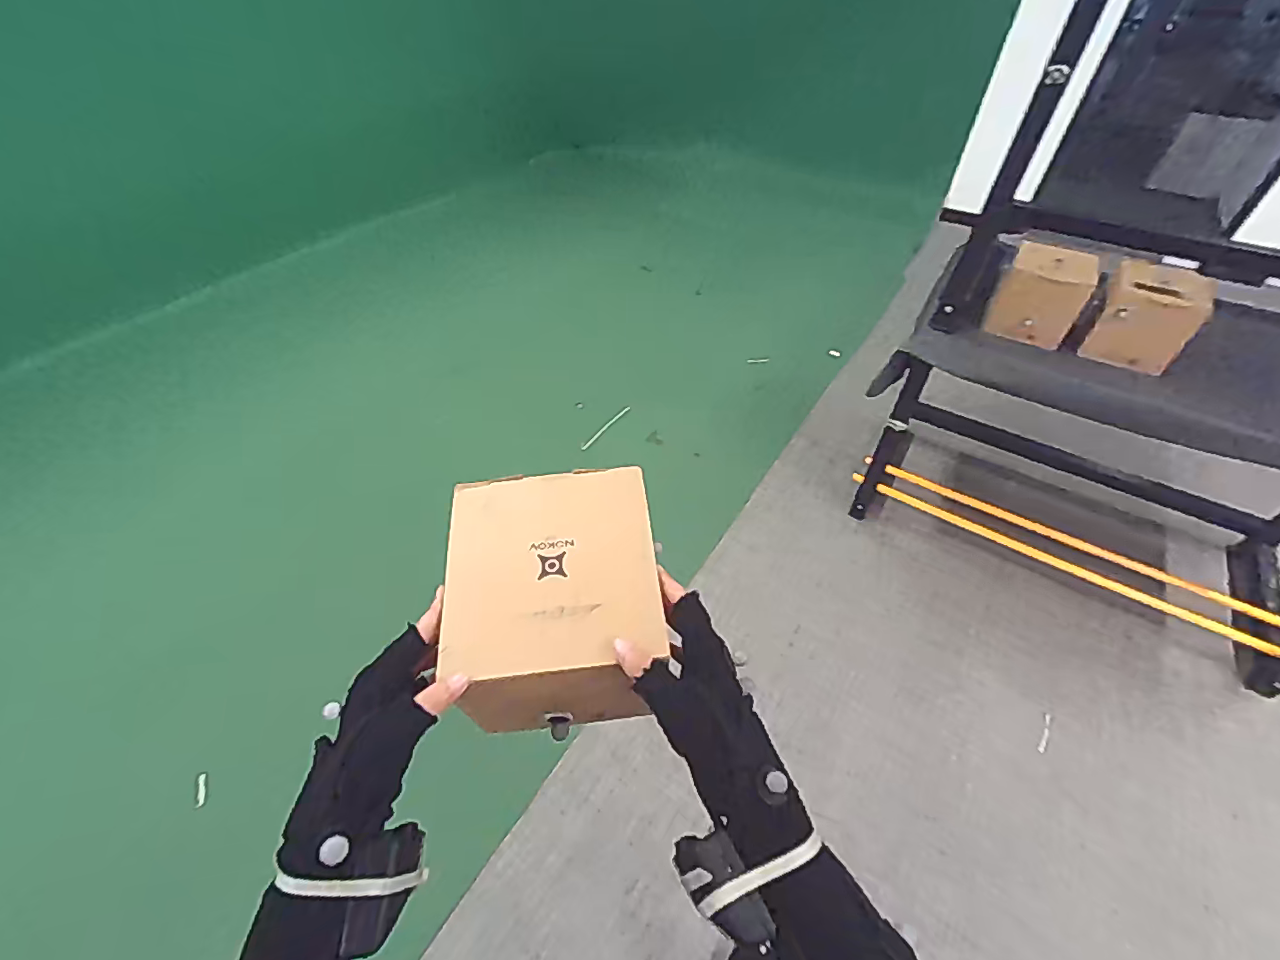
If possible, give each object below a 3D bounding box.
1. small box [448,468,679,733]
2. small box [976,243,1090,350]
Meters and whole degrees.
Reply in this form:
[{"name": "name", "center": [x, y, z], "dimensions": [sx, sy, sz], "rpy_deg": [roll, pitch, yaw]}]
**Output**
[{"name": "small box", "center": [-0.062, 0.112, 0.493], "dimensions": [0.168, 0.176, 0.179], "rpy_deg": [-5, 54, -4]}, {"name": "small box", "center": [0.954, -0.447, 1.320], "dimensions": [0.168, 0.176, 0.179], "rpy_deg": [24, 52, 21]}]
